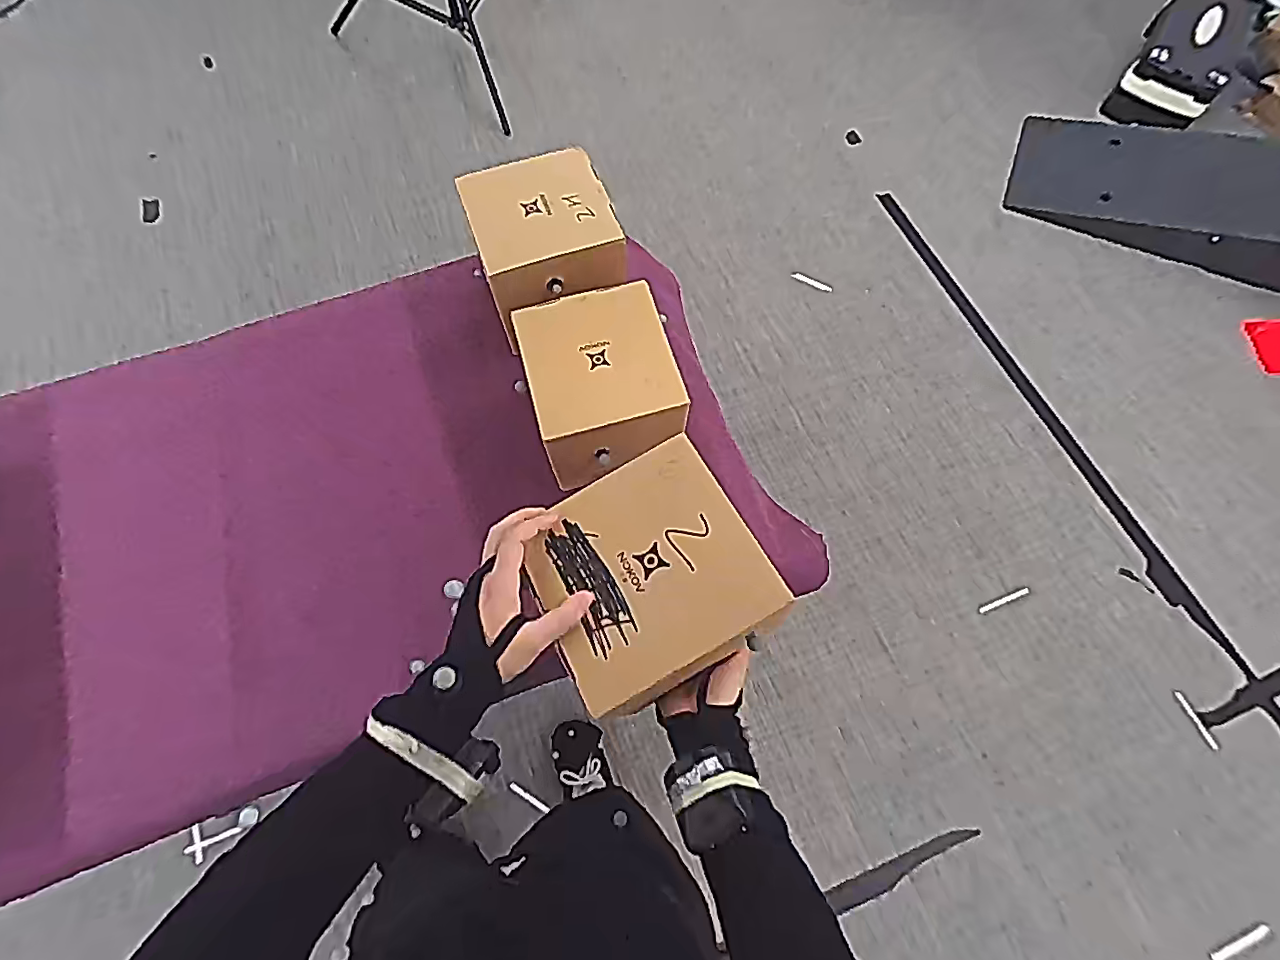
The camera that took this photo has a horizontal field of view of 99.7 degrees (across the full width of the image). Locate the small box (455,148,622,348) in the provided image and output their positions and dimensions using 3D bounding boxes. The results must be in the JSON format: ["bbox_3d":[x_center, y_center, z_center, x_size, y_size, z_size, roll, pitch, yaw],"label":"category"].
[{"bbox_3d":[-0.129,-0.308,0.745,0.179,0.176,0.168,-19,72,-9],"label":"small box"}]

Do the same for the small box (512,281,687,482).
[{"bbox_3d":[-0.047,-0.110,0.681,0.168,0.176,0.179,-16,70,-6],"label":"small box"}]
